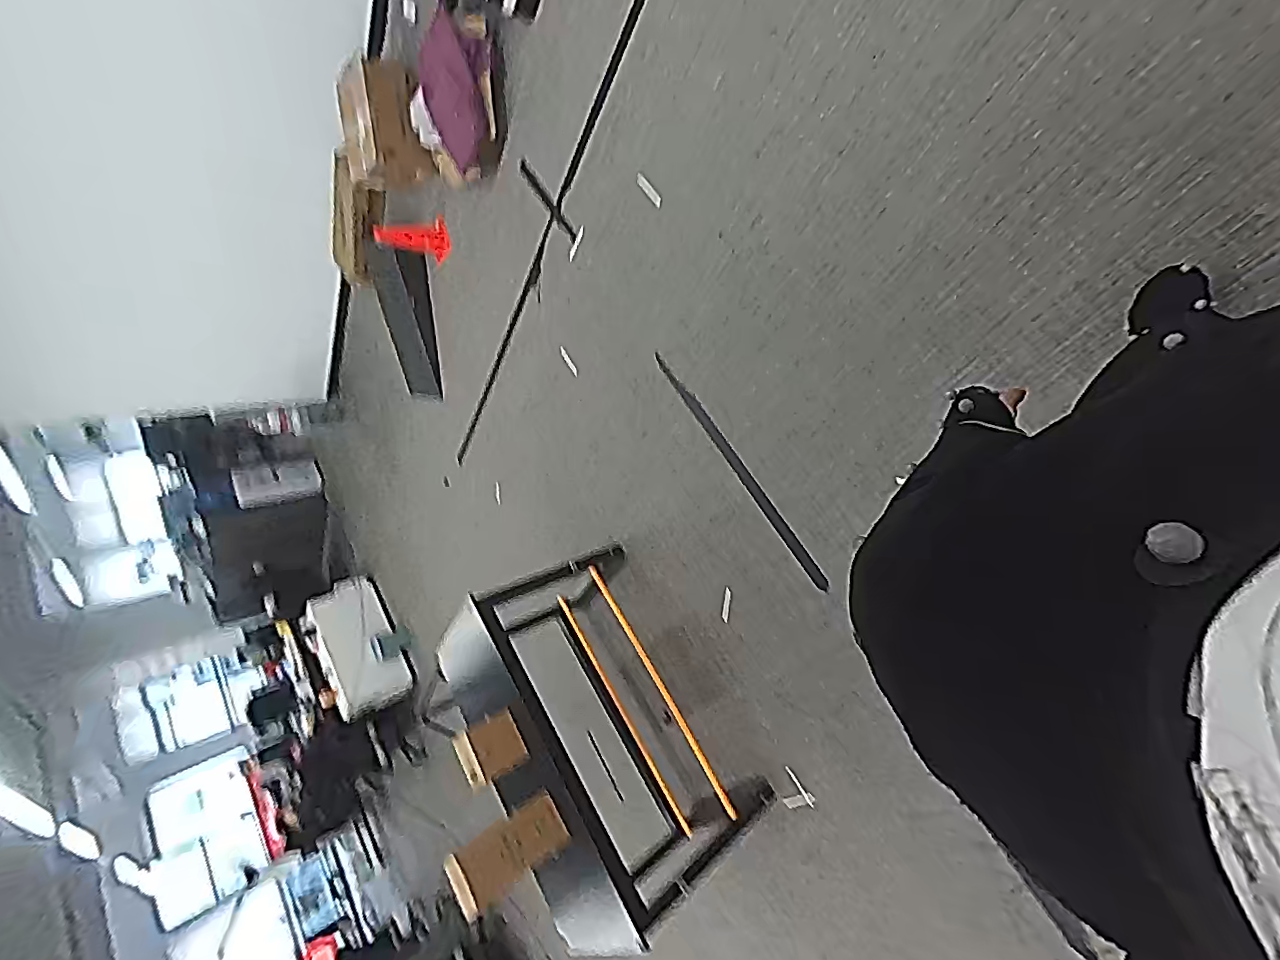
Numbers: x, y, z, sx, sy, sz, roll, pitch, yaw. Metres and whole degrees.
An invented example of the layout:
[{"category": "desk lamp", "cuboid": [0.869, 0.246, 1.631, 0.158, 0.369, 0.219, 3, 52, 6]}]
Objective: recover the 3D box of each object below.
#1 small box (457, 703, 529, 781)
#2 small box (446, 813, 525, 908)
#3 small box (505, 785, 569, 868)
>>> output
[{"category": "small box", "cuboid": [-0.515, 0.917, 1.898, 0.179, 0.176, 0.168, 59, 136, 18]}, {"category": "small box", "cuboid": [-0.482, 1.188, 1.692, 0.168, 0.176, 0.179, 52, 134, 23]}, {"category": "small box", "cuboid": [-0.360, 1.153, 1.799, 0.168, 0.176, 0.179, 54, 134, 22]}]
